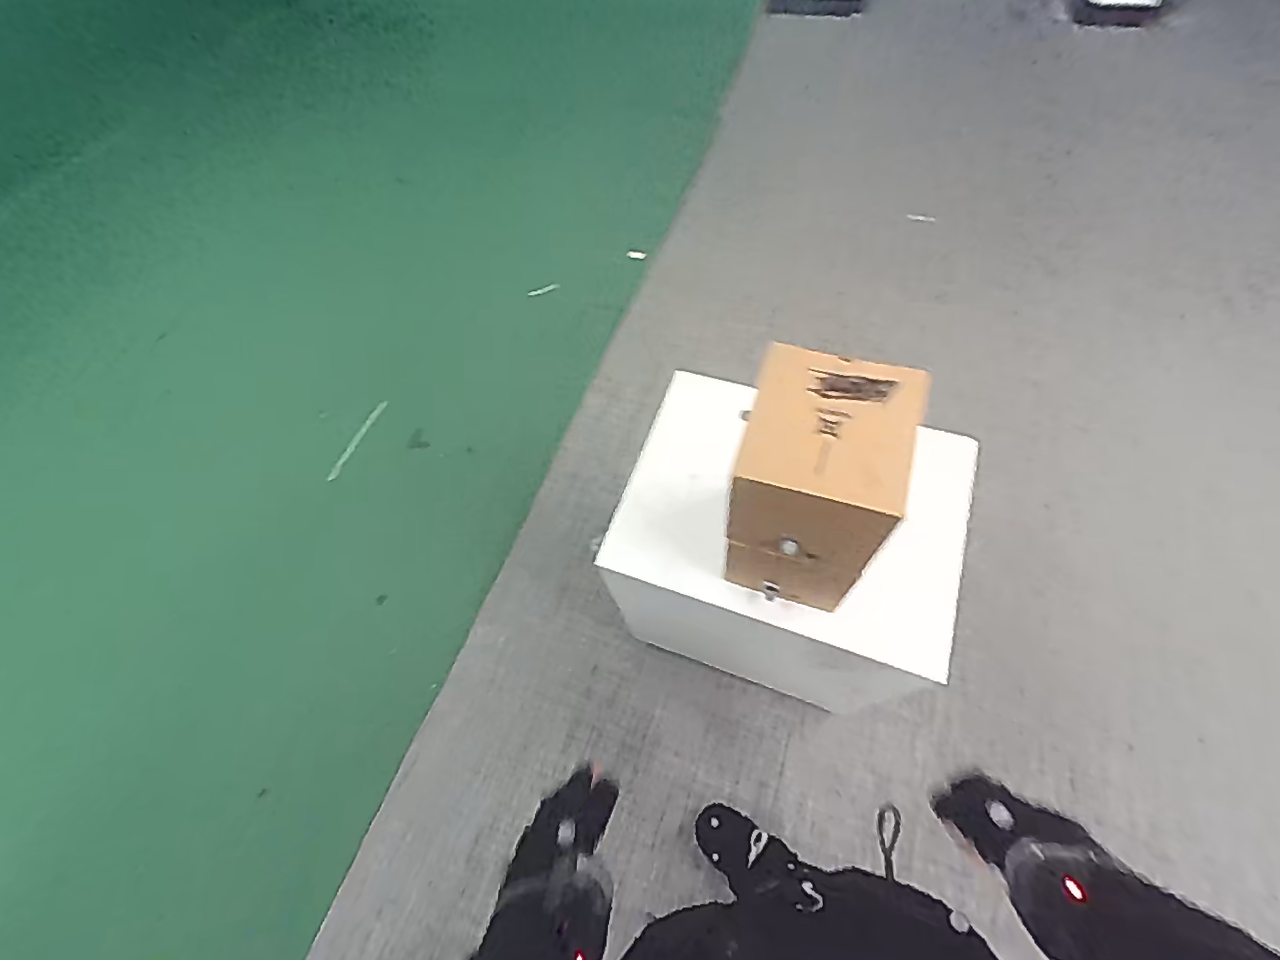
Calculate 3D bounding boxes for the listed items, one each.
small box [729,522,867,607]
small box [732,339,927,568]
[{"bbox_3d":[0.221,0.054,0.745,0.168,0.176,0.179,14,66,16],"label":"small box"},{"bbox_3d":[0.200,-0.026,0.603,0.168,0.176,0.179,12,63,14],"label":"small box"}]
